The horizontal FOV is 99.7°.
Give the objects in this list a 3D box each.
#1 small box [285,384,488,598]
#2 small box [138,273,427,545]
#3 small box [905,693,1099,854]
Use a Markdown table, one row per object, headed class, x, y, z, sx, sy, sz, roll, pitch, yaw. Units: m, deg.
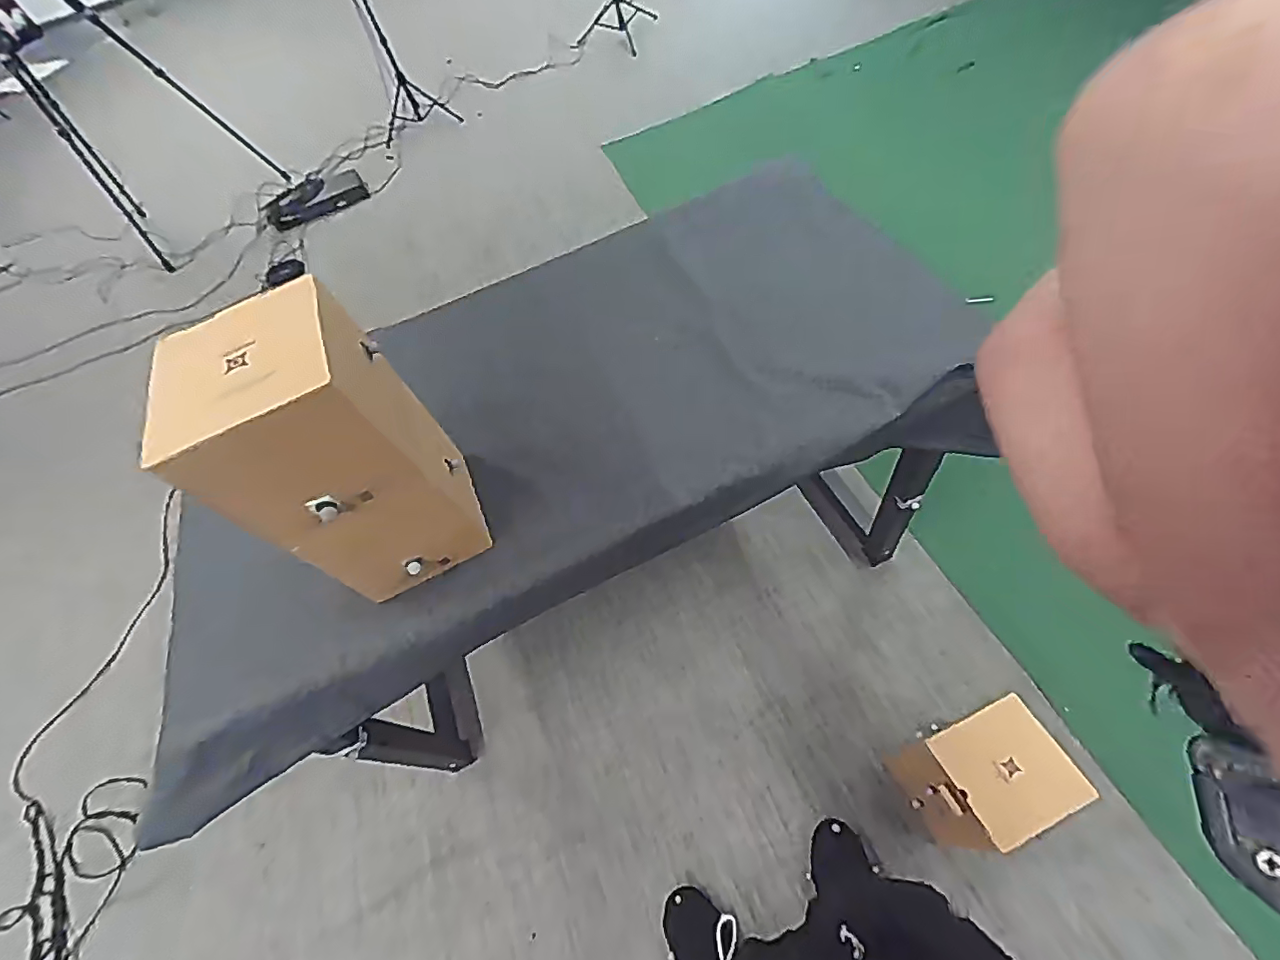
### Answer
| class | x | y | z | sx | sy | sz | roll | pitch | yaw |
| --- | --- | --- | --- | --- | --- | --- | --- | --- | --- |
| small box | -0.316 | 0.019 | 0.683 | 0.168 | 0.176 | 0.179 | -27 | 58 | -5 |
| small box | -0.344 | -0.065 | 0.547 | 0.168 | 0.176 | 0.179 | -28 | 58 | -5 |
| small box | 0.574 | 0.477 | 0.888 | 0.179 | 0.176 | 0.168 | -27 | 58 | -5 |
